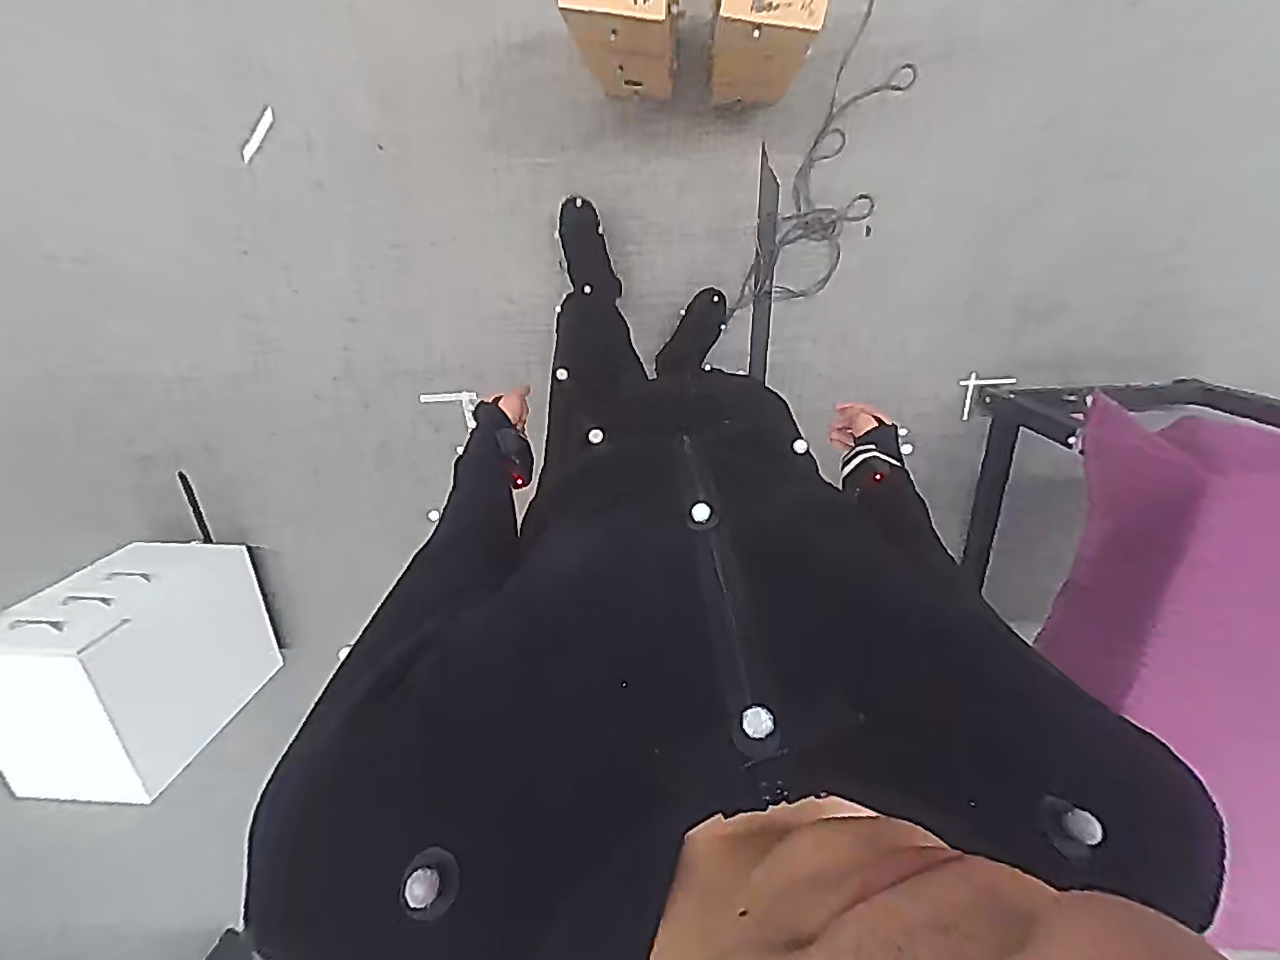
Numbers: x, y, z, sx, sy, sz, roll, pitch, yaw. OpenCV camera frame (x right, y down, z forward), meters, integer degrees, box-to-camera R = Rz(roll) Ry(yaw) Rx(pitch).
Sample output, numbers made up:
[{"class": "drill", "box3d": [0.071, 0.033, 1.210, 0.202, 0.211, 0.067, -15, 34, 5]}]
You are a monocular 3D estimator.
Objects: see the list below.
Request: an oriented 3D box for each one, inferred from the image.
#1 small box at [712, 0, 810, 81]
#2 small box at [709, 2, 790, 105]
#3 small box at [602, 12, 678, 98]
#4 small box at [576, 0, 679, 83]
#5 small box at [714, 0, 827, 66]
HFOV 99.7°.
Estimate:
[{"class": "small box", "box3d": [0.233, -0.894, 1.046, 0.179, 0.176, 0.168, 2, 112, 3]}, {"class": "small box", "box3d": [0.242, -0.956, 1.195, 0.168, 0.176, 0.179, 1, 113, 4]}, {"class": "small box", "box3d": [-0.004, -0.977, 1.198, 0.168, 0.176, 0.179, 5, 113, 2]}, {"class": "small box", "box3d": [-0.019, -0.901, 1.053, 0.179, 0.176, 0.168, 9, 112, 1]}, {"class": "small box", "box3d": [0.221, -0.830, 0.895, 0.168, 0.176, 0.179, 9, 112, 0]}]
